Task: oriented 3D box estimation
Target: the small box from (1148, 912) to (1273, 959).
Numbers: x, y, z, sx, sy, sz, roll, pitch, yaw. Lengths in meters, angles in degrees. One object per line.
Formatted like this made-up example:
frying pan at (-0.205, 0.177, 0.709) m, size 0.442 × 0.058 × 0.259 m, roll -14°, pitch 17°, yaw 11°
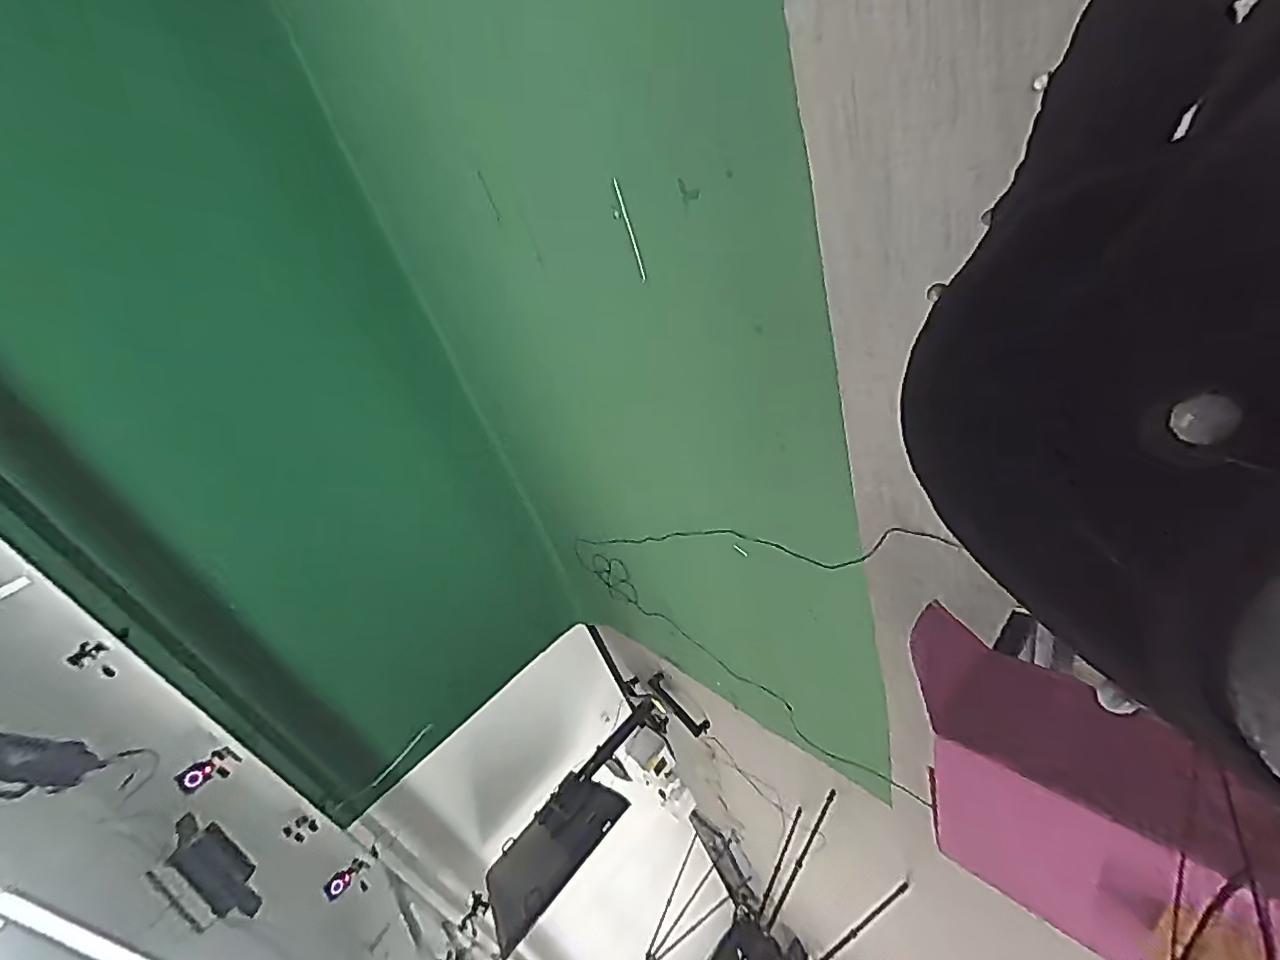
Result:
small box at (1.040, 0.930, 0.972) m, size 0.179 × 0.176 × 0.168 m, roll 18°, pitch 138°, yaw 45°
